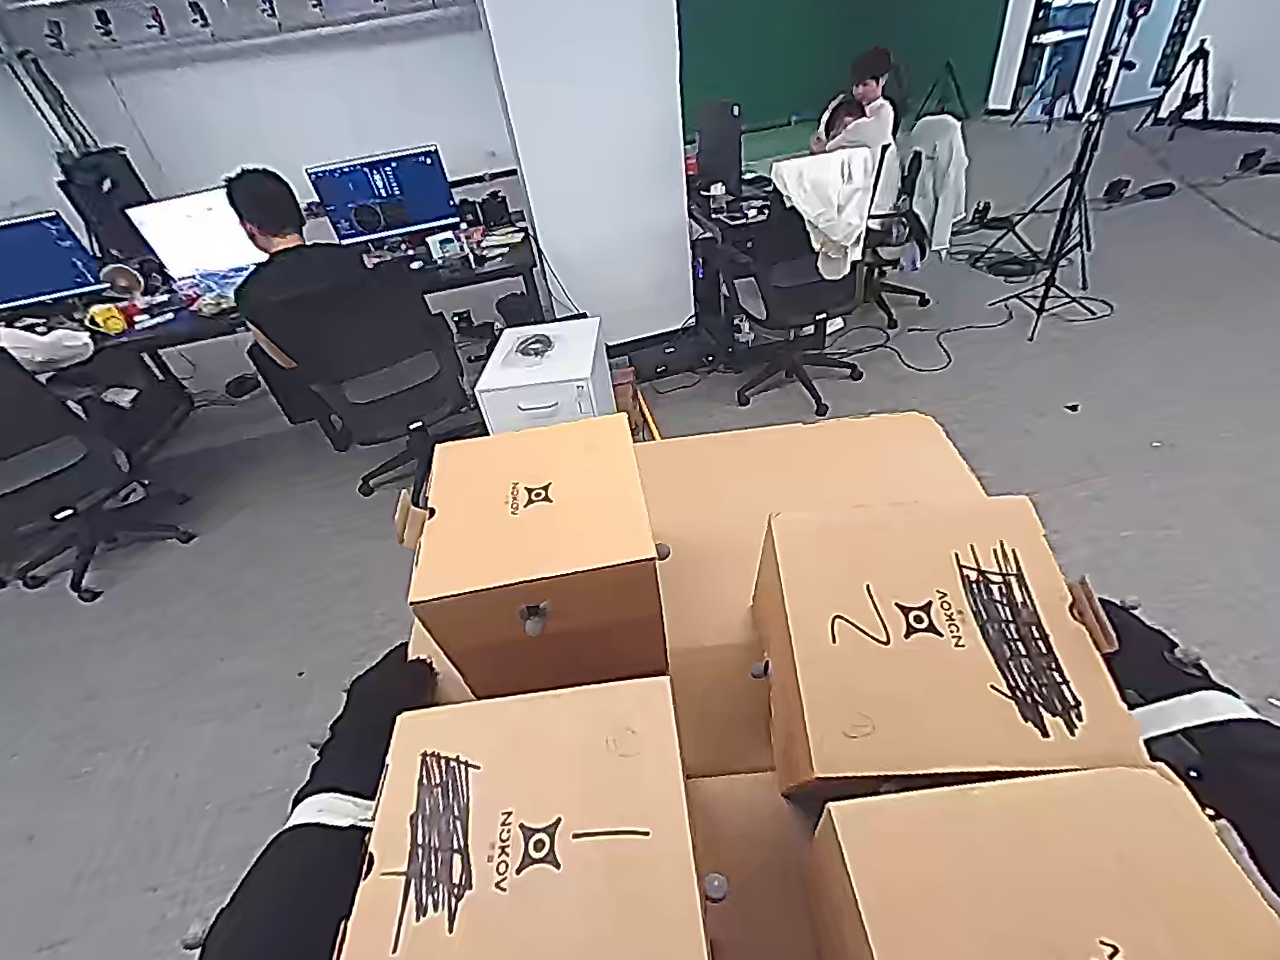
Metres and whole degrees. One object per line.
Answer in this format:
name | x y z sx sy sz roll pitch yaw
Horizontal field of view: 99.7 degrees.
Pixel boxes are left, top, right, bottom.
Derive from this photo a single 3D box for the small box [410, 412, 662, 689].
small box | -0.078 0.066 0.490 0.179 0.176 0.168 -11 45 -1
